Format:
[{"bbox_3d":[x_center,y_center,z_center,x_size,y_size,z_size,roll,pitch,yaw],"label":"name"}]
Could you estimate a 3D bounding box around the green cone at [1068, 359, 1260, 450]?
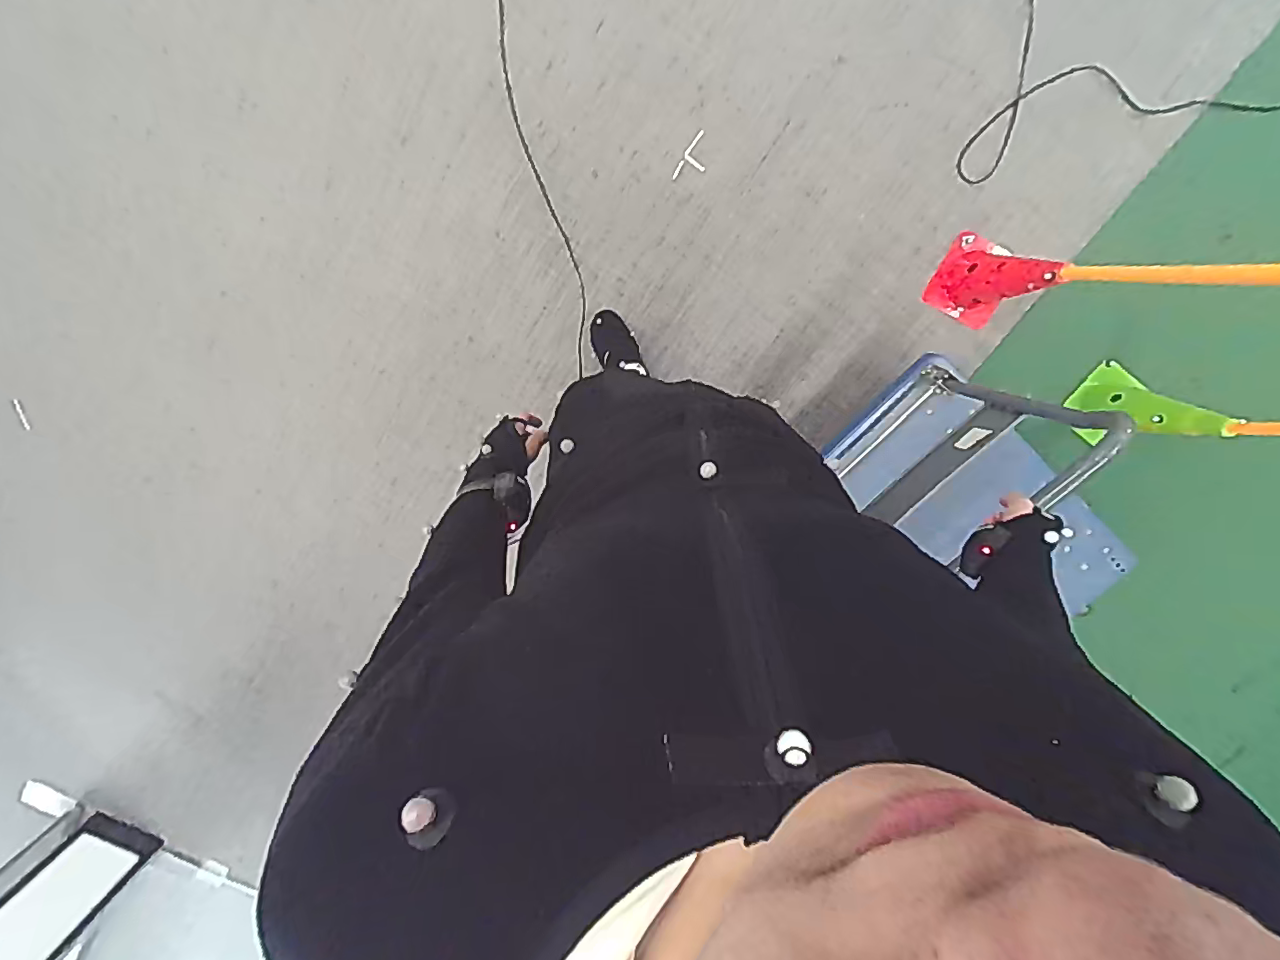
[{"bbox_3d":[1.325,-0.156,1.346,0.202,0.368,0.200,33,105,-9],"label":"green cone"}]
